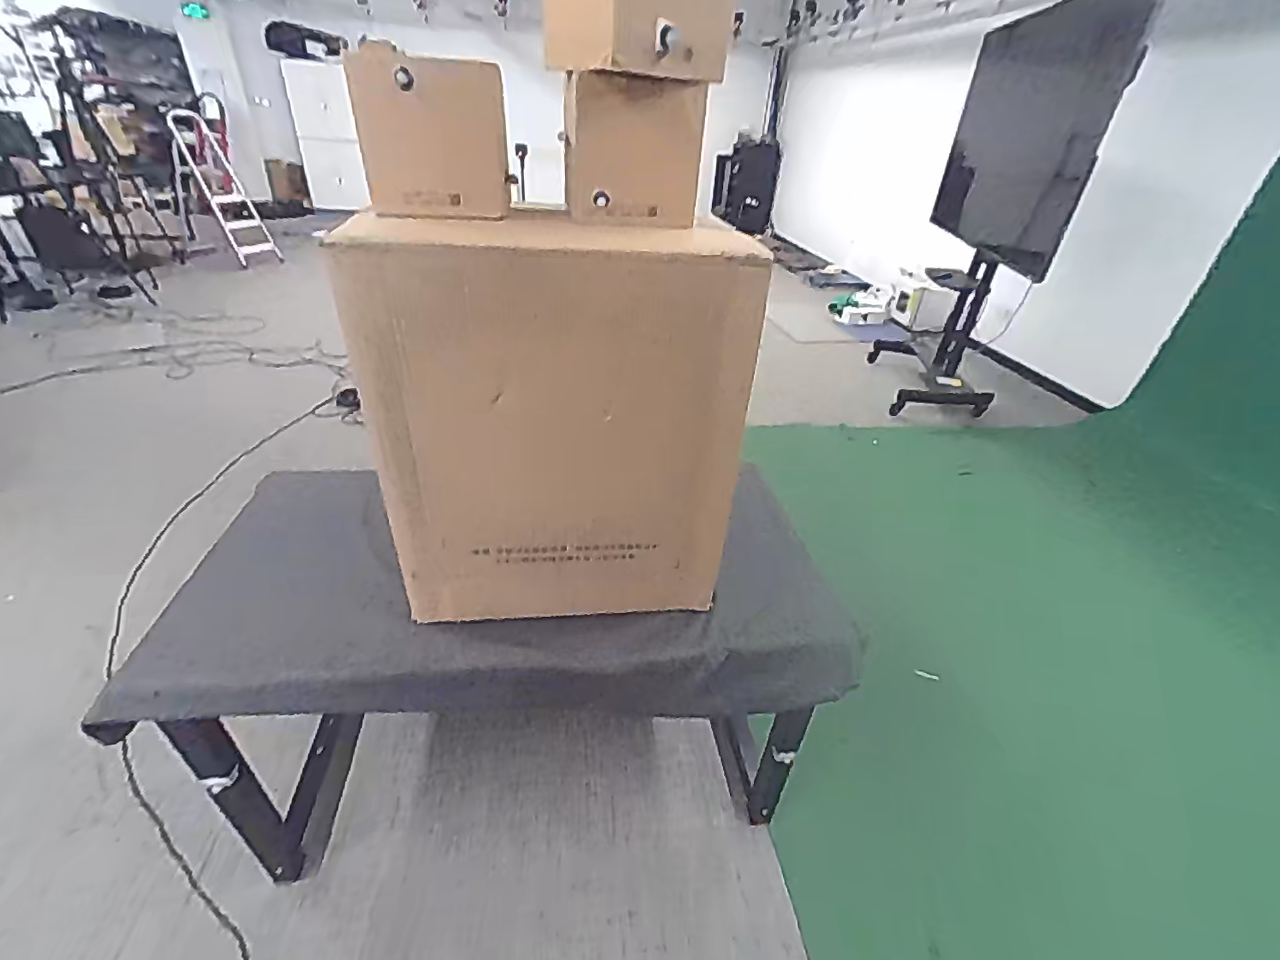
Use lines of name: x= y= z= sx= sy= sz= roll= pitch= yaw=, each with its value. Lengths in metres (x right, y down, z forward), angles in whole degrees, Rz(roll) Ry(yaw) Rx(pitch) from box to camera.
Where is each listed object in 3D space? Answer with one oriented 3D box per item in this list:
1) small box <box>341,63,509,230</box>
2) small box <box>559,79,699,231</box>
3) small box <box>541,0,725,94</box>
small box: x=-0.271 y=-0.443 z=0.728 sx=0.168 sy=0.176 sz=0.179 roll=-4 pitch=34 yaw=-8
small box: x=-0.023 y=-0.455 z=0.762 sx=0.168 sy=0.176 sz=0.179 roll=-4 pitch=35 yaw=-11
small box: x=-0.014 y=-0.573 z=0.648 sx=0.168 sy=0.176 sz=0.179 roll=-20 pitch=42 yaw=-28
